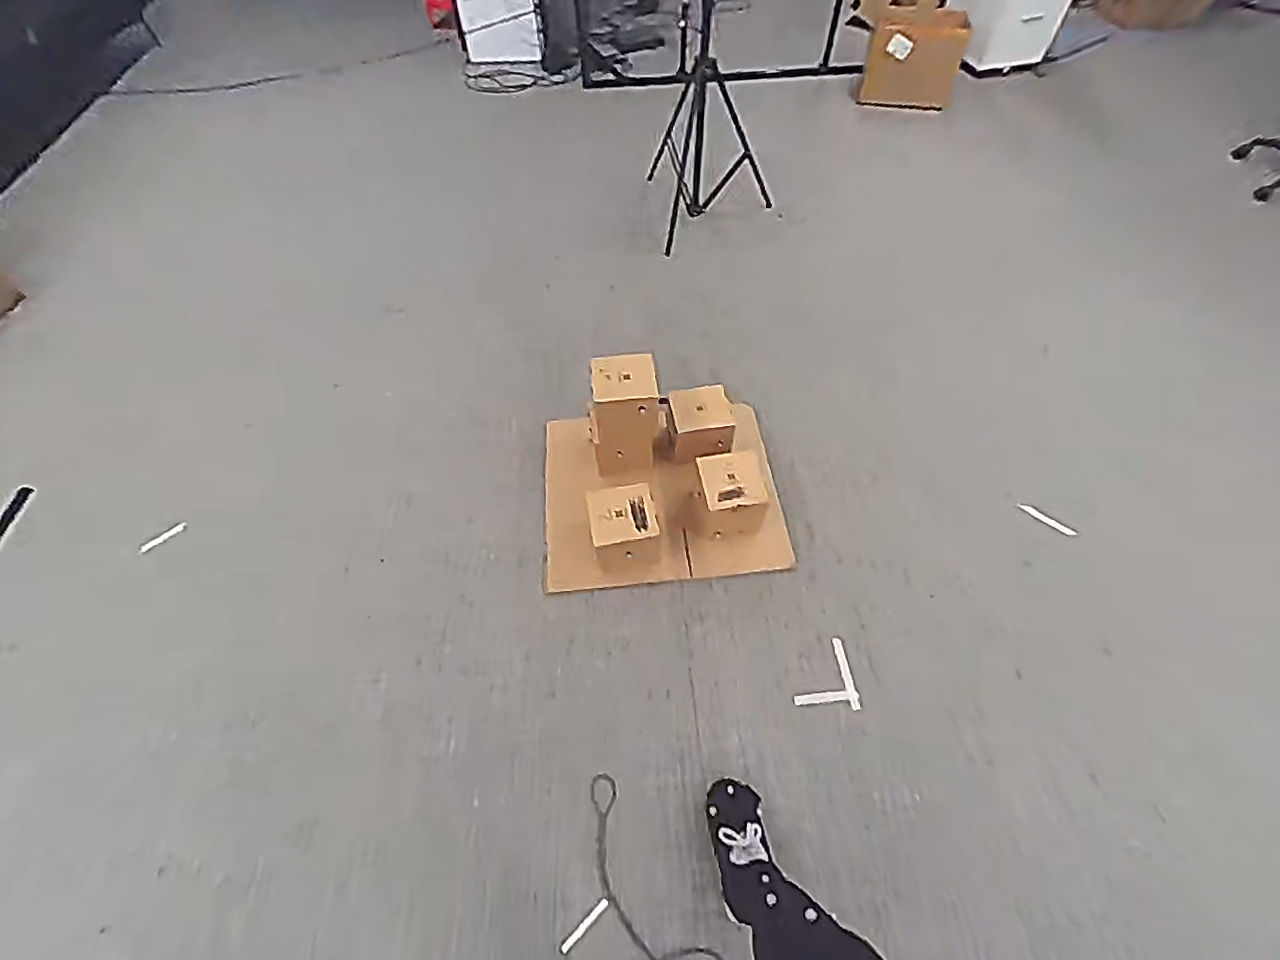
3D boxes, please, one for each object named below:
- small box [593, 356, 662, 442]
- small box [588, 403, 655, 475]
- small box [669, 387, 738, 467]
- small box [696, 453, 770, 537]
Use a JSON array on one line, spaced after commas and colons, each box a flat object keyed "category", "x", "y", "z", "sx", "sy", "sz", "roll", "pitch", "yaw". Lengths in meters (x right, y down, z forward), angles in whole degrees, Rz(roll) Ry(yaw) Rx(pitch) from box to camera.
[{"category": "small box", "x": -0.035, "y": -0.223, "z": 1.517, "sx": 0.179, "sy": 0.176, "sz": 0.168, "roll": -6, "pitch": 56, "yaw": -2}, {"category": "small box", "x": -0.054, "y": -0.131, "z": 1.655, "sx": 0.179, "sy": 0.176, "sz": 0.168, "roll": -9, "pitch": 57, "yaw": -3}, {"category": "small box", "x": 0.189, "y": -0.160, "z": 1.669, "sx": 0.179, "sy": 0.176, "sz": 0.168, "roll": -9, "pitch": 56, "yaw": -3}, {"category": "small box", "x": 0.256, "y": 0.049, "z": 1.527, "sx": 0.168, "sy": 0.176, "sz": 0.179, "roll": -8, "pitch": 57, "yaw": -3}]
